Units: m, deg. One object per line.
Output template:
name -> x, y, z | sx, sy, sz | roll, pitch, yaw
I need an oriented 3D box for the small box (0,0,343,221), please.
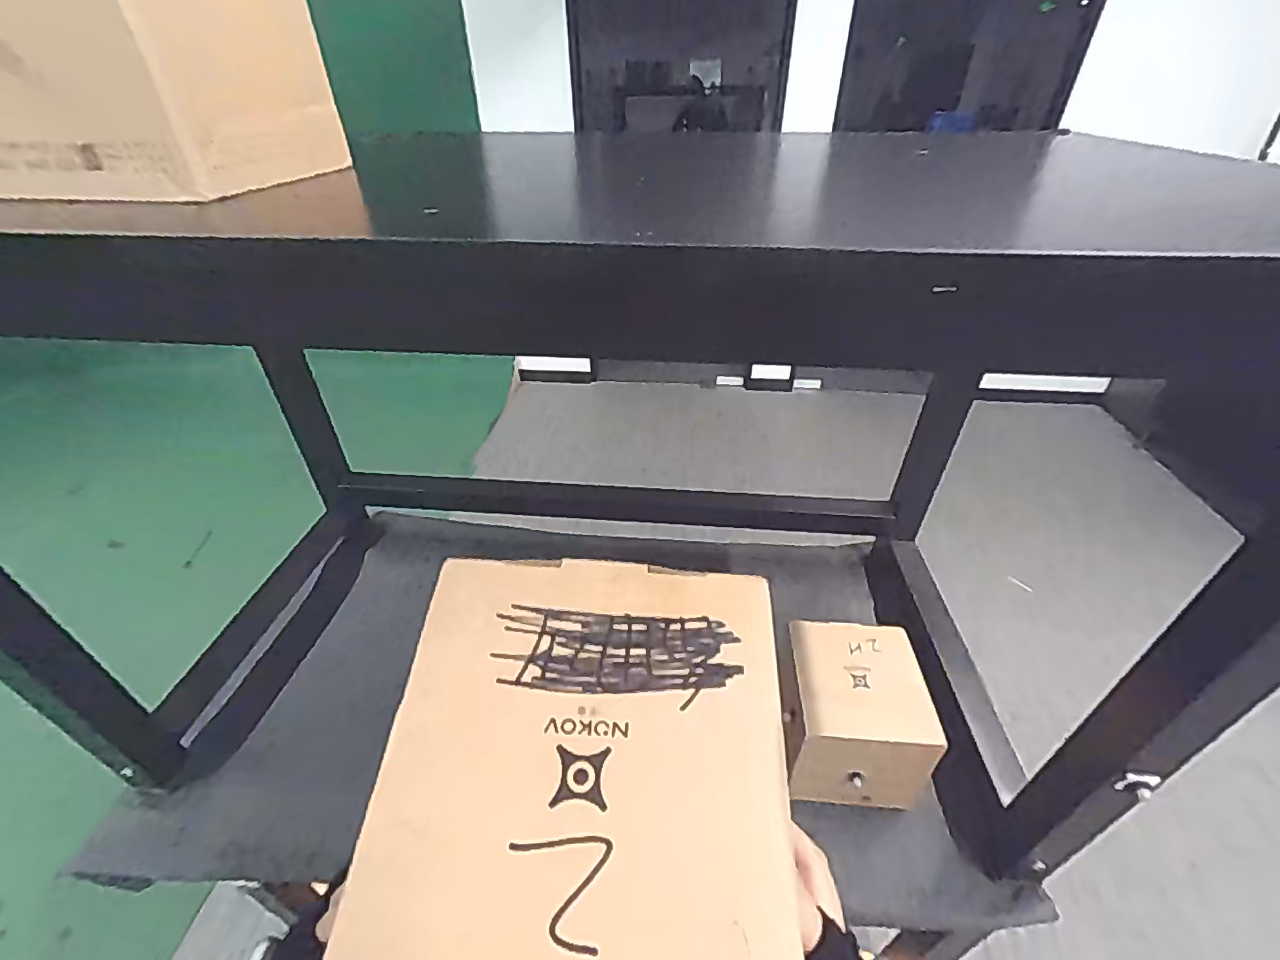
small box -> -0.334, -0.276, 0.357 | 0.168, 0.176, 0.179 | 3, 36, 5

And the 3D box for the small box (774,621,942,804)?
small box -> 0.287, 0.324, 0.757 | 0.168, 0.176, 0.179 | 3, 35, 4
